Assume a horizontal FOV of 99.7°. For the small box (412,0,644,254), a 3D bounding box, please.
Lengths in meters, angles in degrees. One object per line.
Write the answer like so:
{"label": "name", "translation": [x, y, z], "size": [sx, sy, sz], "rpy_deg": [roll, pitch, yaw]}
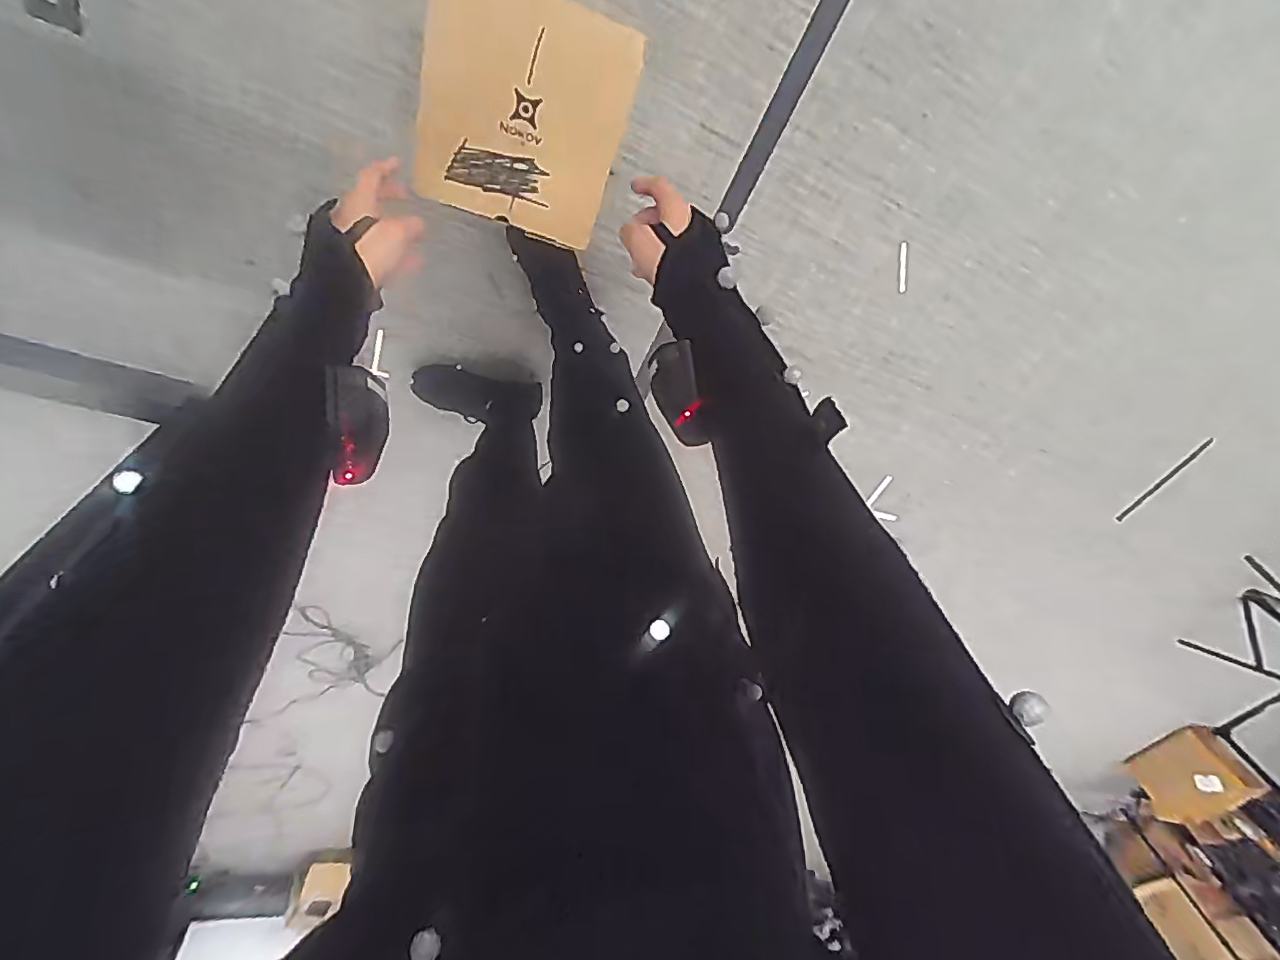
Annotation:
{"label": "small box", "translation": [-0.108, -0.350, 0.521], "size": [0.168, 0.176, 0.179], "rpy_deg": [12, 124, -18]}
